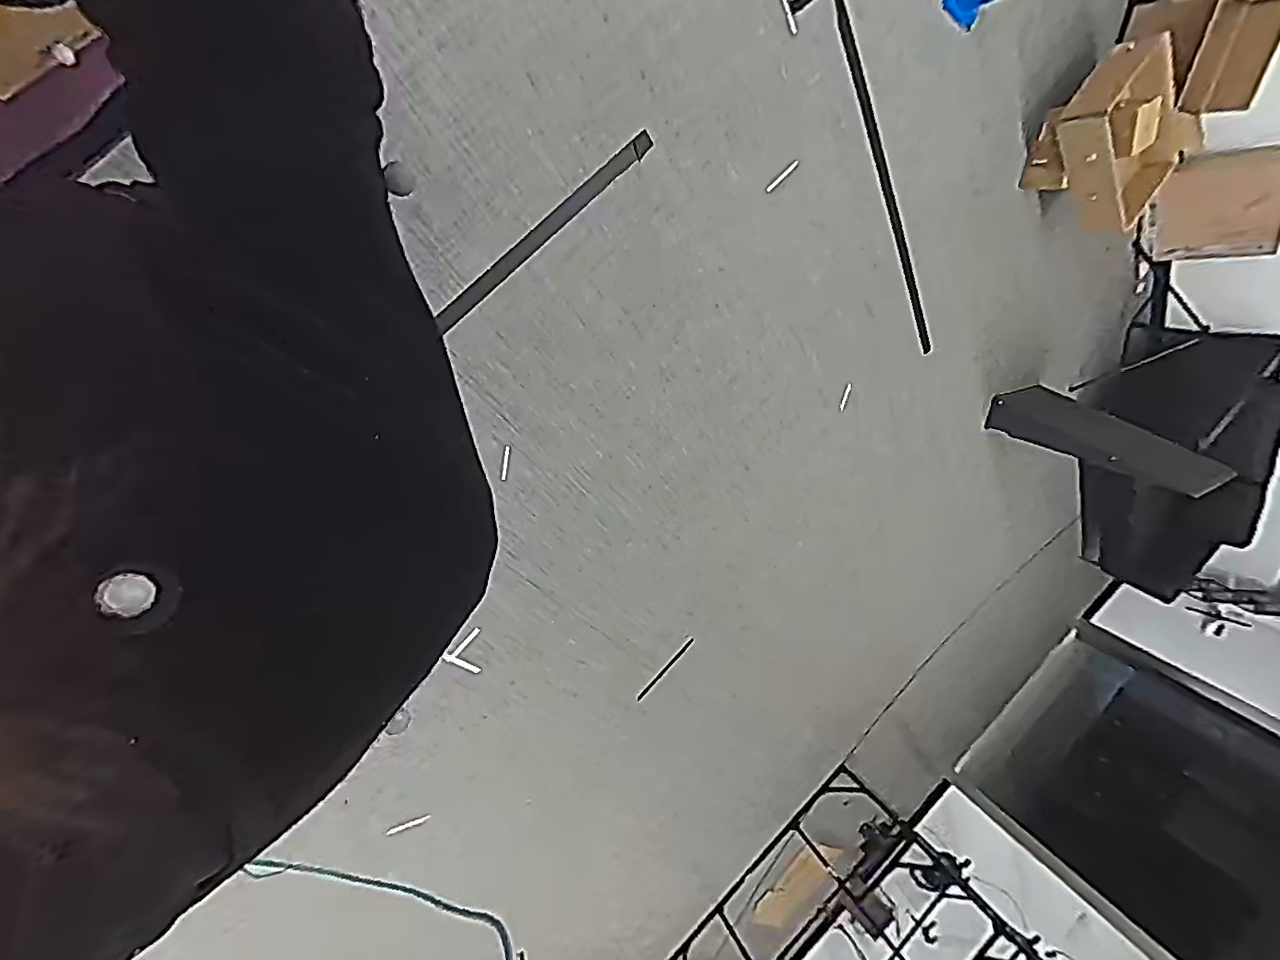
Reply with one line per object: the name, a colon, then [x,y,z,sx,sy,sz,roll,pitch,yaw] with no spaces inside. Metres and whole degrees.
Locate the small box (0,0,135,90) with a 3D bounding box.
small box: [-0.569,-0.454,0.428,0.168,0.176,0.179,-42,129,-6]
